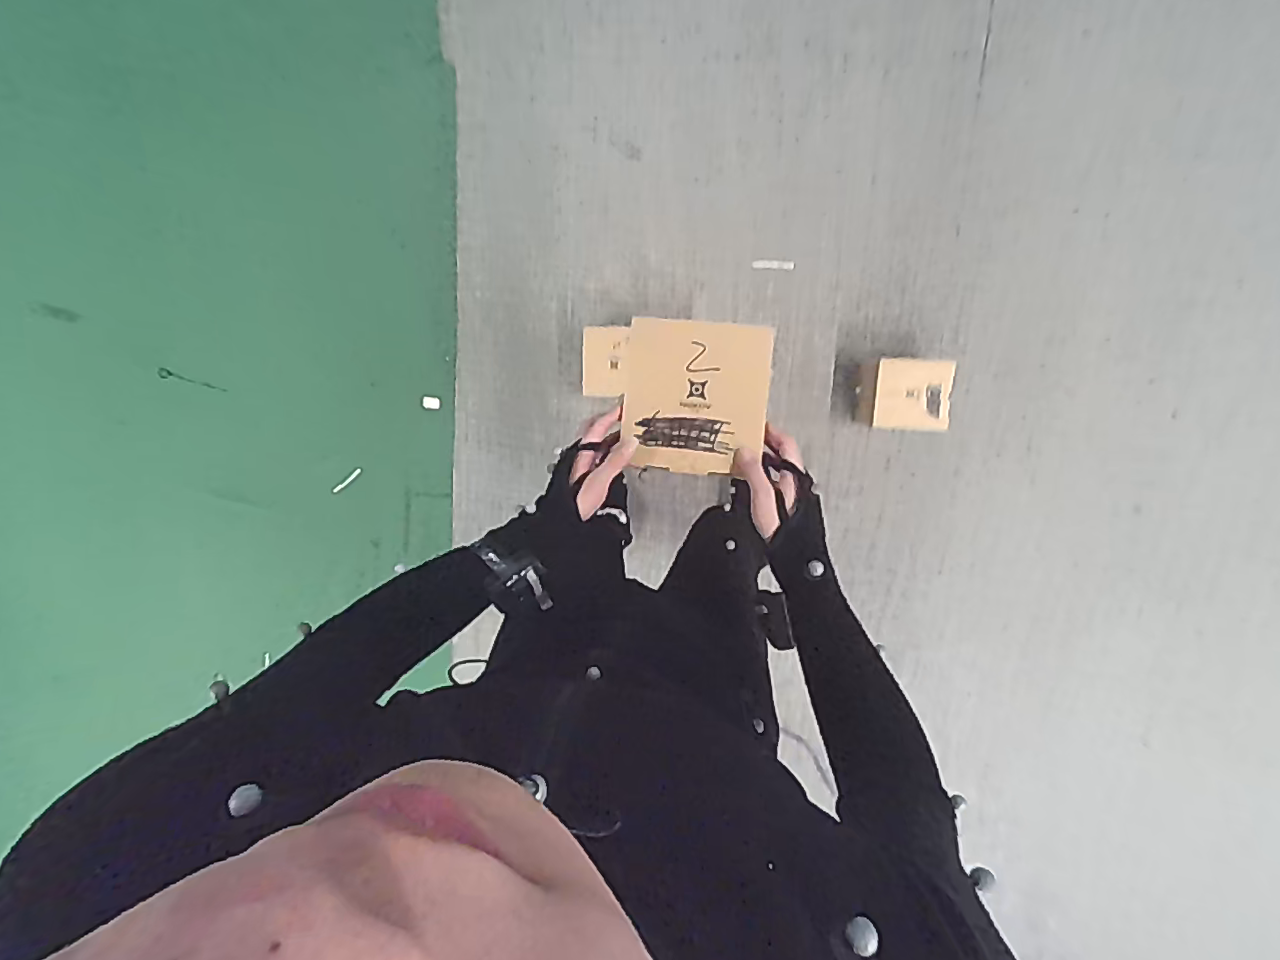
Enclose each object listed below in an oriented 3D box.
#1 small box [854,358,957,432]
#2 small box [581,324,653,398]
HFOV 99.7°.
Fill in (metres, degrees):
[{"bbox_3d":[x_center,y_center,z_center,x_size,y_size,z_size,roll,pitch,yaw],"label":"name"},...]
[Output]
[{"bbox_3d":[0.654,-0.214,1.350,0.179,0.176,0.168,4,99,7],"label":"small box"},{"bbox_3d":[-0.056,-0.308,1.422,0.168,0.176,0.179,3,99,6],"label":"small box"}]
